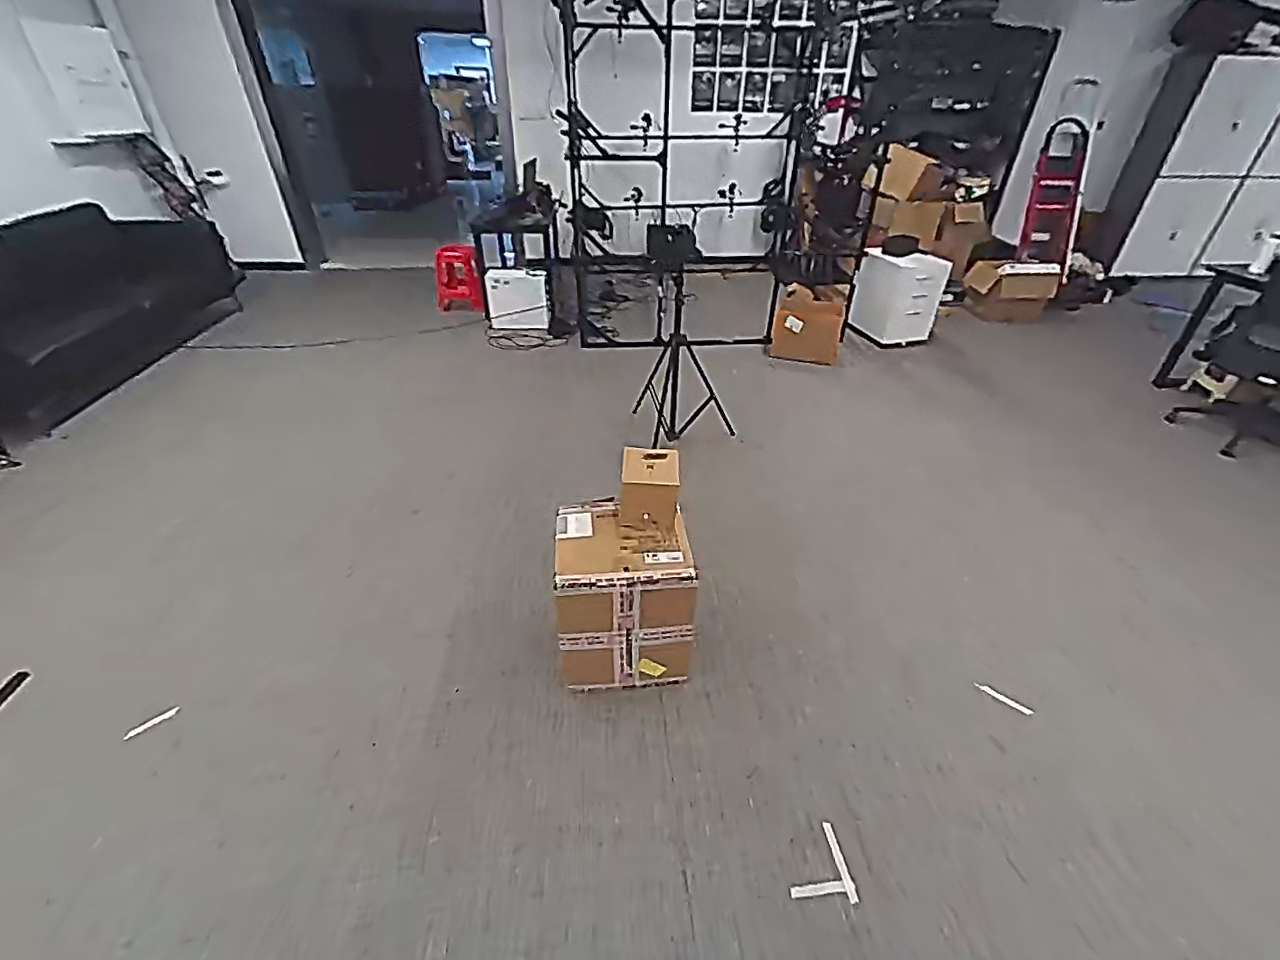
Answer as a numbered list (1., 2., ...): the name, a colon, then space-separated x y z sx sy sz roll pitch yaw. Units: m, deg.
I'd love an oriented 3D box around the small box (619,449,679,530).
1. small box: 0.026 0.027 1.622 0.168 0.176 0.179 3 38 0
